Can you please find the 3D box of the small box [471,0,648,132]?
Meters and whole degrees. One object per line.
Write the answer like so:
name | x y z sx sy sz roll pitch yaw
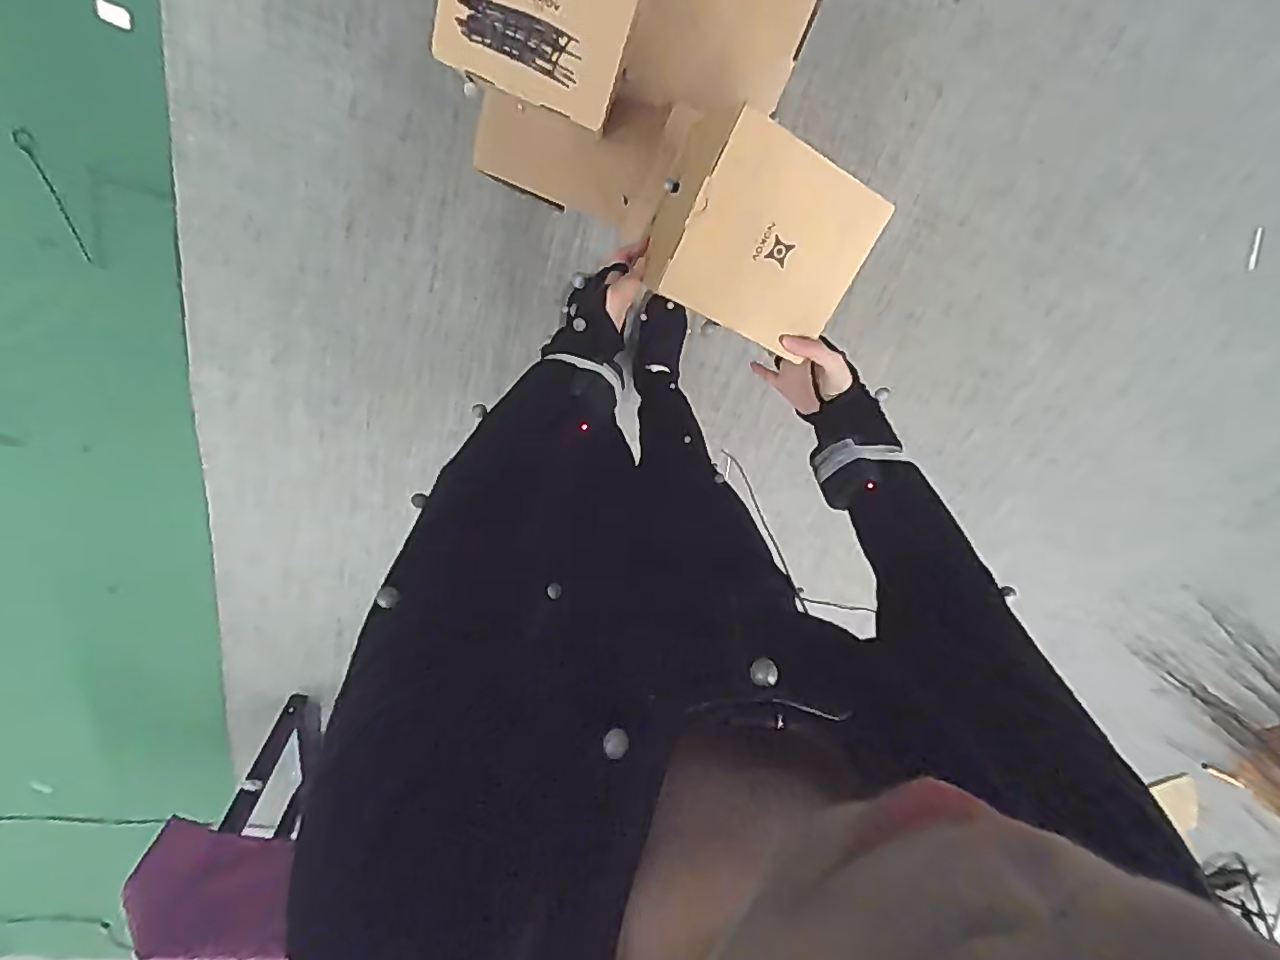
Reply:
small box | -0.093 -0.569 0.676 0.168 0.176 0.179 20 117 -15

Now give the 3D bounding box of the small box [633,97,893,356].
small box | 0.111 -0.257 0.566 0.179 0.176 0.168 21 112 -19
